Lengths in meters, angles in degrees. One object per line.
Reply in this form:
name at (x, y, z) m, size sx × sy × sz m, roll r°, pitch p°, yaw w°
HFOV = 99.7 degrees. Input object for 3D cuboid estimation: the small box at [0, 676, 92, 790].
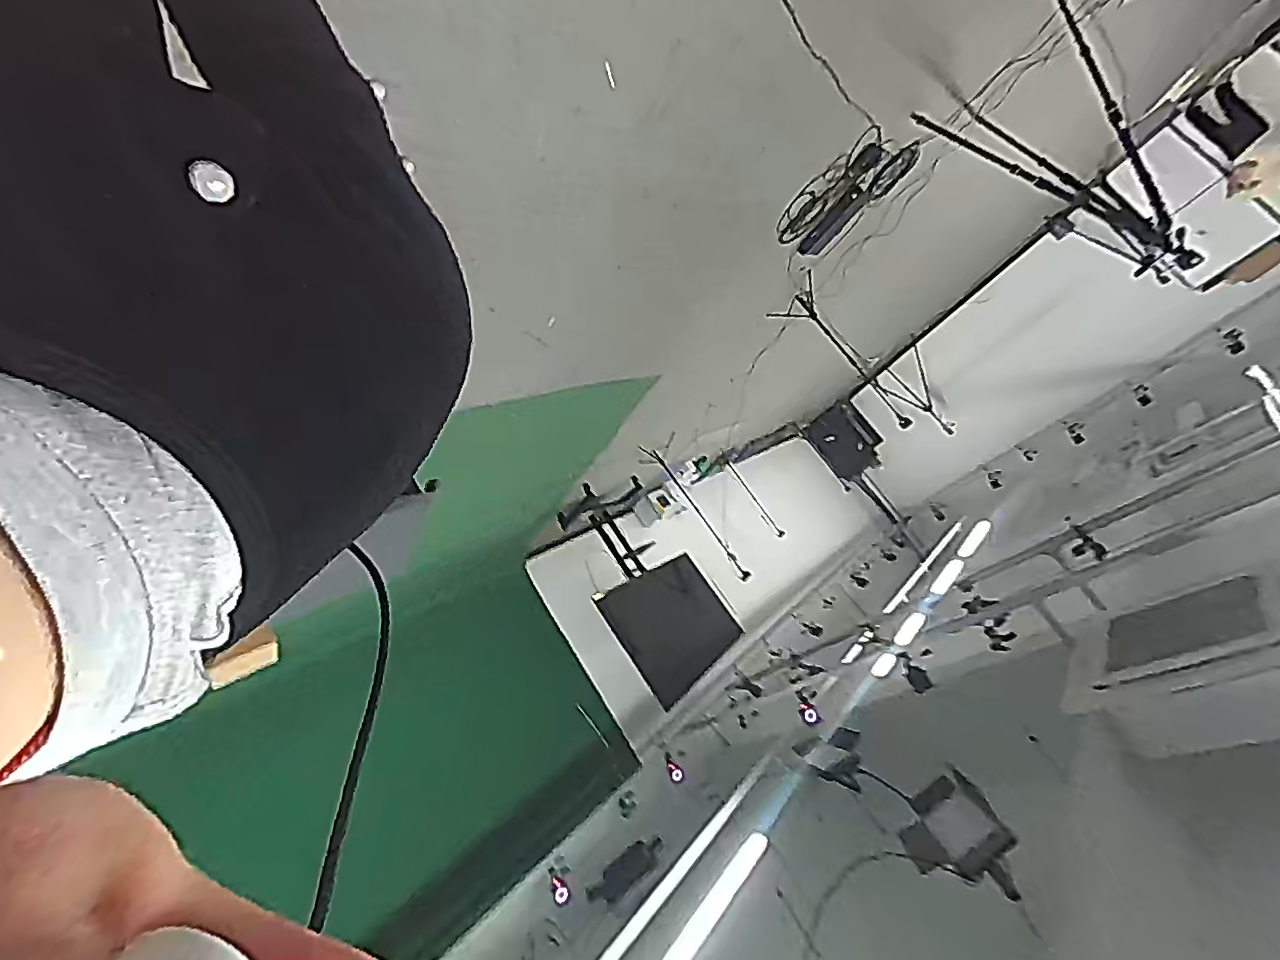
small box at (-1.450, 0.592, 1.279) m, size 0.168 × 0.176 × 0.179 m, roll -23°, pitch 163°, yaw -45°

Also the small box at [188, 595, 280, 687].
small box at (-1.163, 0.459, 1.556) m, size 0.168 × 0.176 × 0.179 m, roll -25°, pitch 163°, yaw -42°
